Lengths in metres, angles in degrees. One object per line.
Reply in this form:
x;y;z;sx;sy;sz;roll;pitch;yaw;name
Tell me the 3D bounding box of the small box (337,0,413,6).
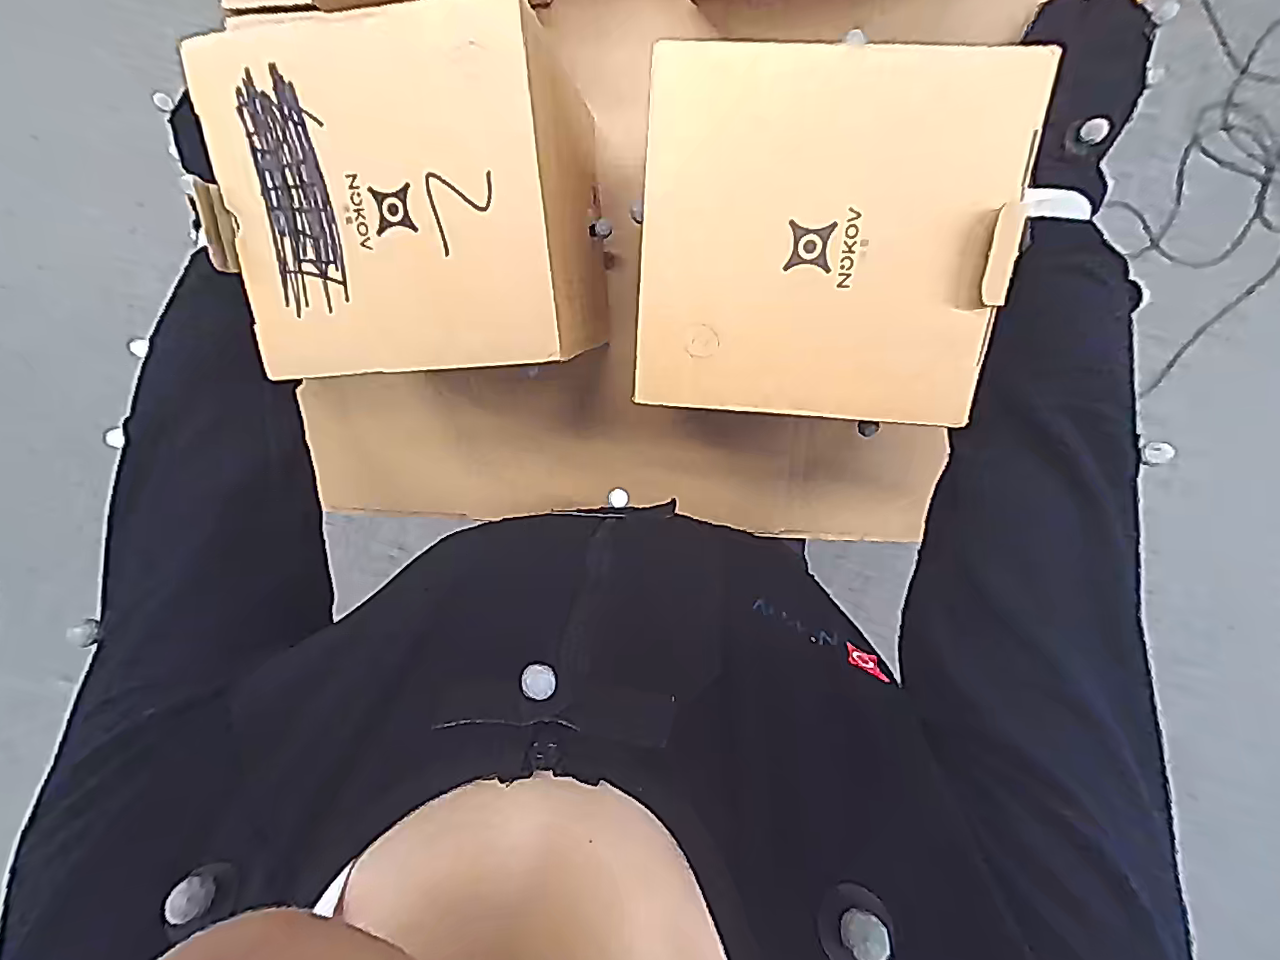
-0.160;-0.399;0.291;0.168;0.176;0.179;0;105;6;small box
